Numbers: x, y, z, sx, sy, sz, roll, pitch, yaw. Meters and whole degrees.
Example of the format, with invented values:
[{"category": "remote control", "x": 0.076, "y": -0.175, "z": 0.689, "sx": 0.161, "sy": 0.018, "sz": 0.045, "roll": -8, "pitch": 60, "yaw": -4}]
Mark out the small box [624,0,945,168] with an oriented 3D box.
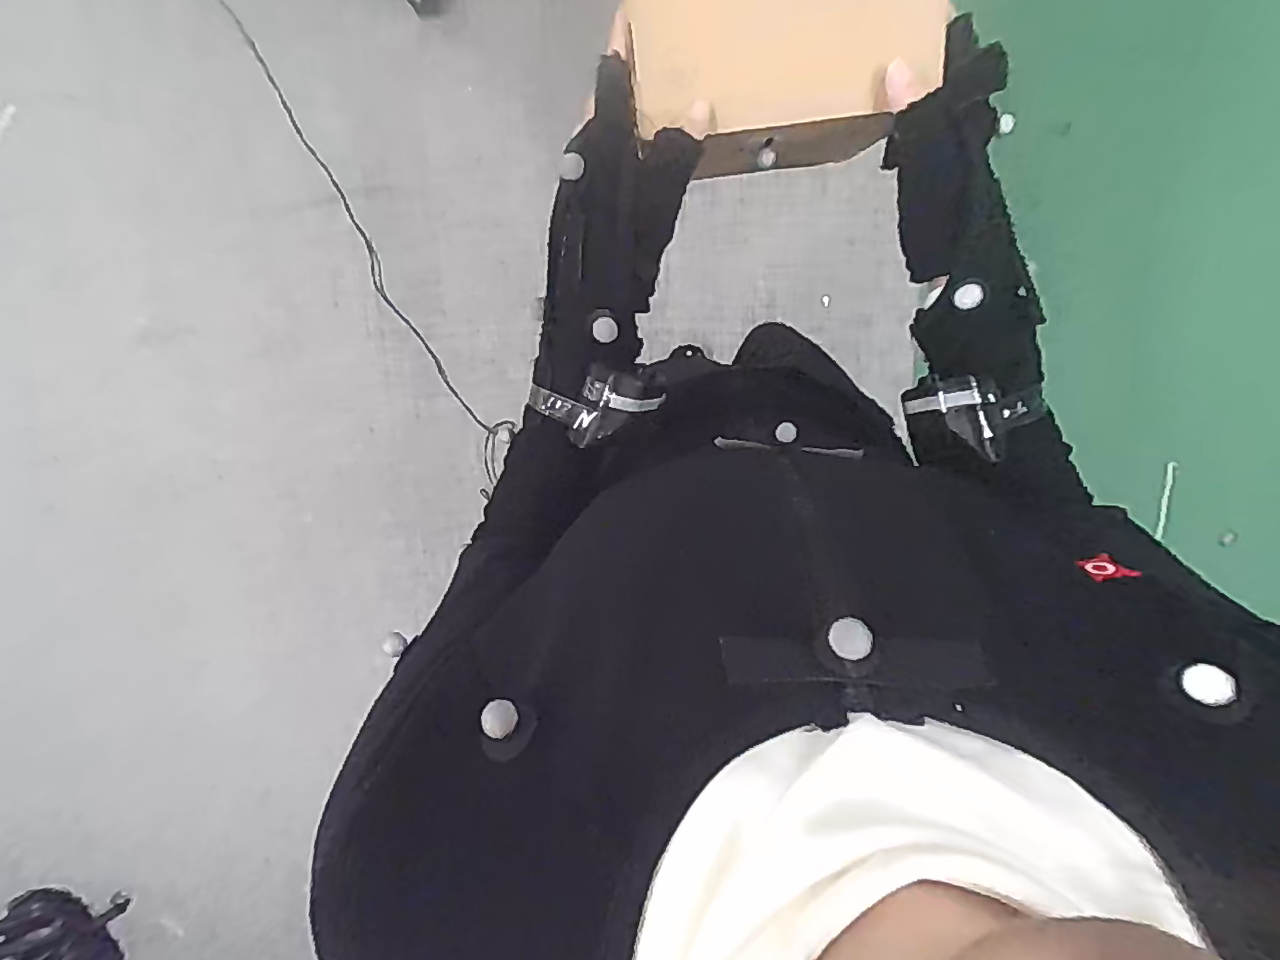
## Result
[{"category": "small box", "x": 0.077, "y": -0.321, "z": 0.359, "sx": 0.179, "sy": 0.176, "sz": 0.168, "roll": -6, "pitch": 112, "yaw": 3}]
